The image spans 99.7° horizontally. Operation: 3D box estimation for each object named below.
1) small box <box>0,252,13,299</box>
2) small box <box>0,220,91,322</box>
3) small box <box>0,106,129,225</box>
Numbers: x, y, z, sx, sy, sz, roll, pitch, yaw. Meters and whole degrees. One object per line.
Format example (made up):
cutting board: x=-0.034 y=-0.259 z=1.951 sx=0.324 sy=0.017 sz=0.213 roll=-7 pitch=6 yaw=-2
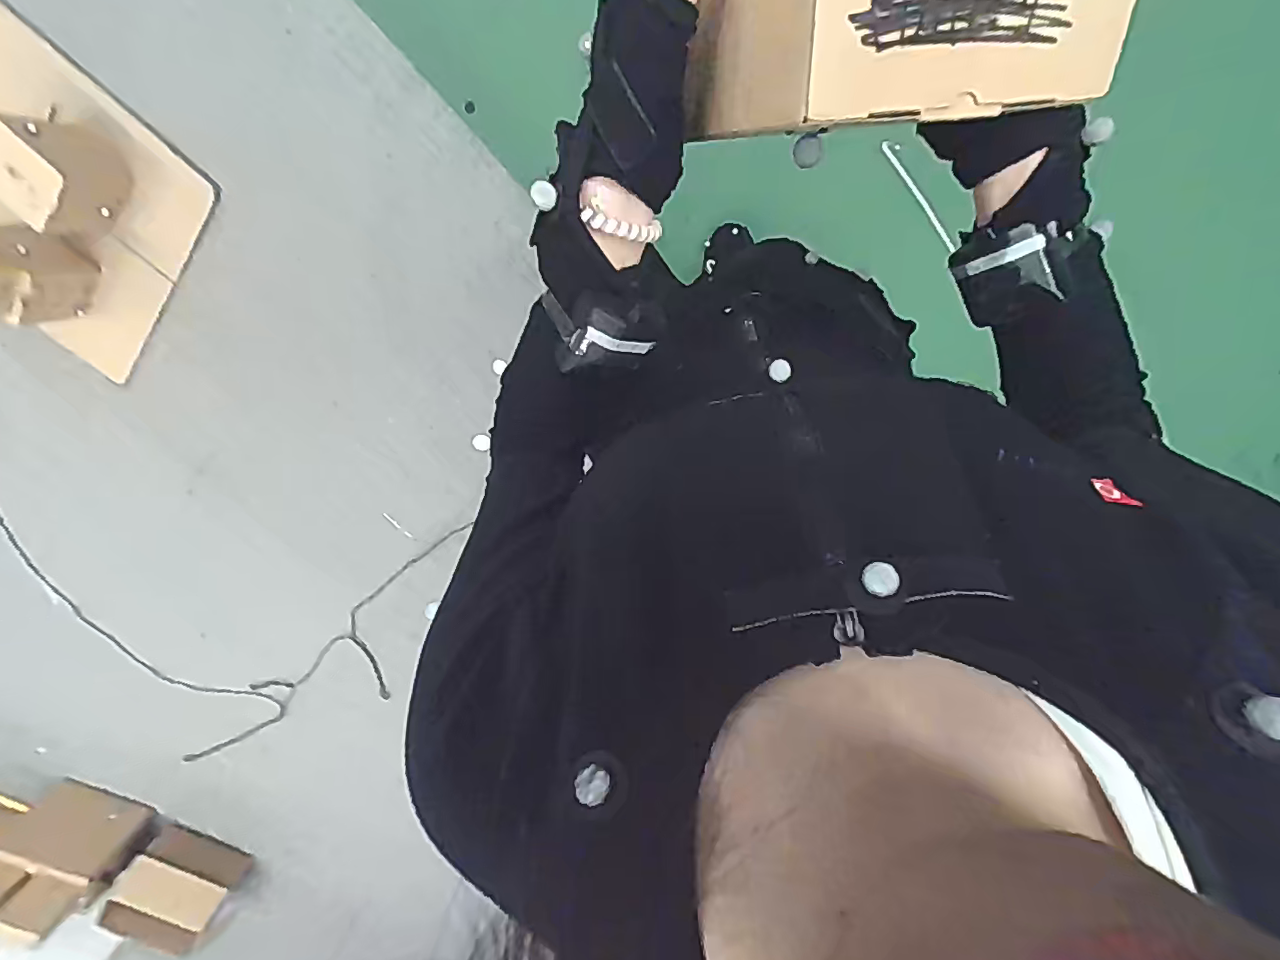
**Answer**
small box: x=-1.578 y=-0.481 z=1.192 sx=0.179 sy=0.176 sz=0.168 roll=43 pitch=111 yaw=-14
small box: x=-1.547 y=-0.527 z=1.348 sx=0.179 sy=0.176 sz=0.168 roll=41 pitch=112 yaw=-13
small box: x=-1.365 y=-0.714 z=1.249 sx=0.168 sy=0.176 sz=0.179 roll=-37 pitch=107 yaw=20
